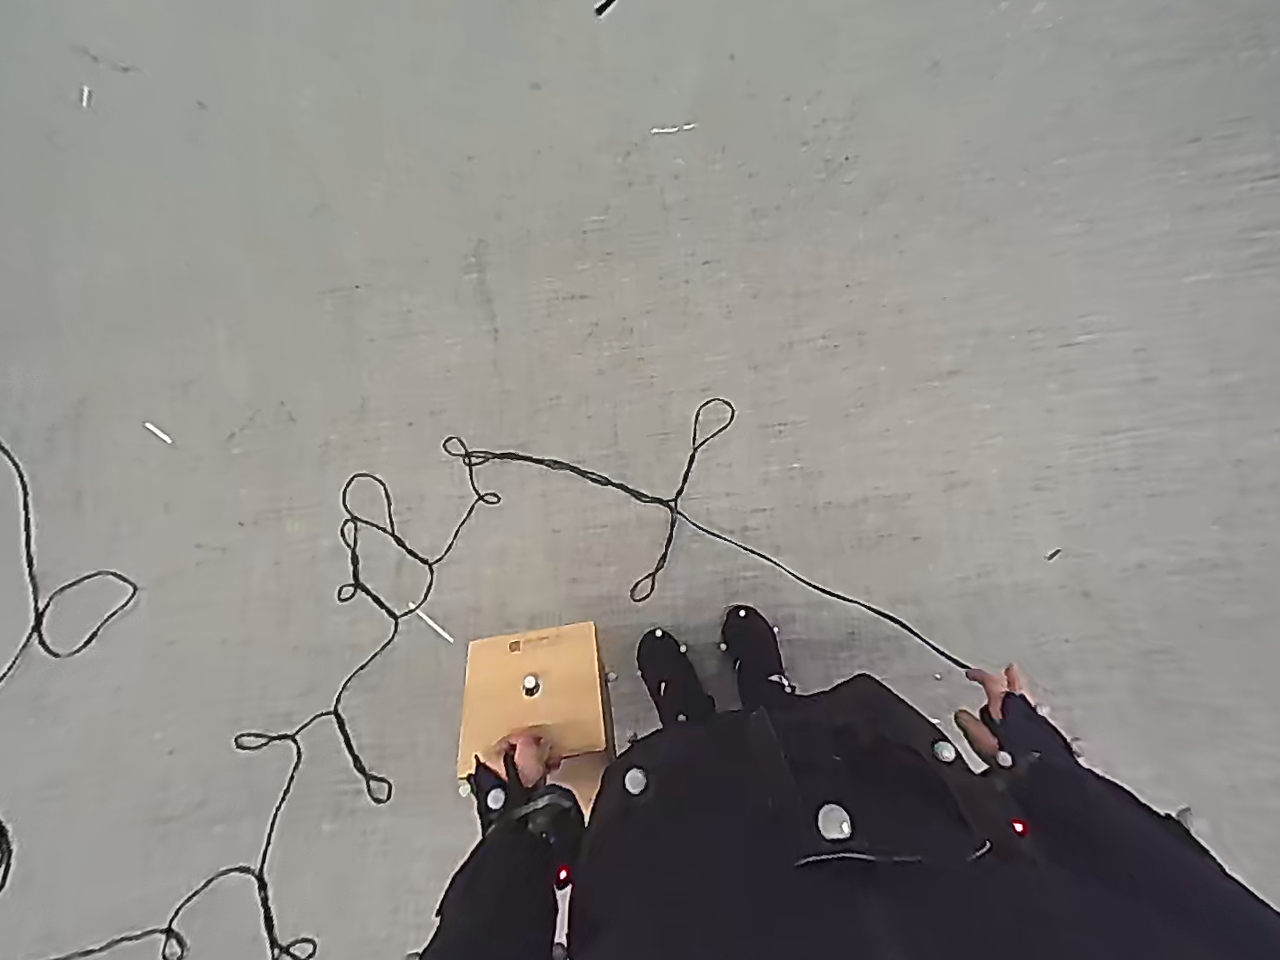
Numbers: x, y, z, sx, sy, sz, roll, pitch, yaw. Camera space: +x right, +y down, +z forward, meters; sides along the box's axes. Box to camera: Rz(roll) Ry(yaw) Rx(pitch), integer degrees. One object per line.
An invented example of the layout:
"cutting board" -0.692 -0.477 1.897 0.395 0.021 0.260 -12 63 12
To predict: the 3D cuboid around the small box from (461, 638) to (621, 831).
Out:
"small box" -0.124 0.321 0.701 0.168 0.179 0.176 -10 44 -4
